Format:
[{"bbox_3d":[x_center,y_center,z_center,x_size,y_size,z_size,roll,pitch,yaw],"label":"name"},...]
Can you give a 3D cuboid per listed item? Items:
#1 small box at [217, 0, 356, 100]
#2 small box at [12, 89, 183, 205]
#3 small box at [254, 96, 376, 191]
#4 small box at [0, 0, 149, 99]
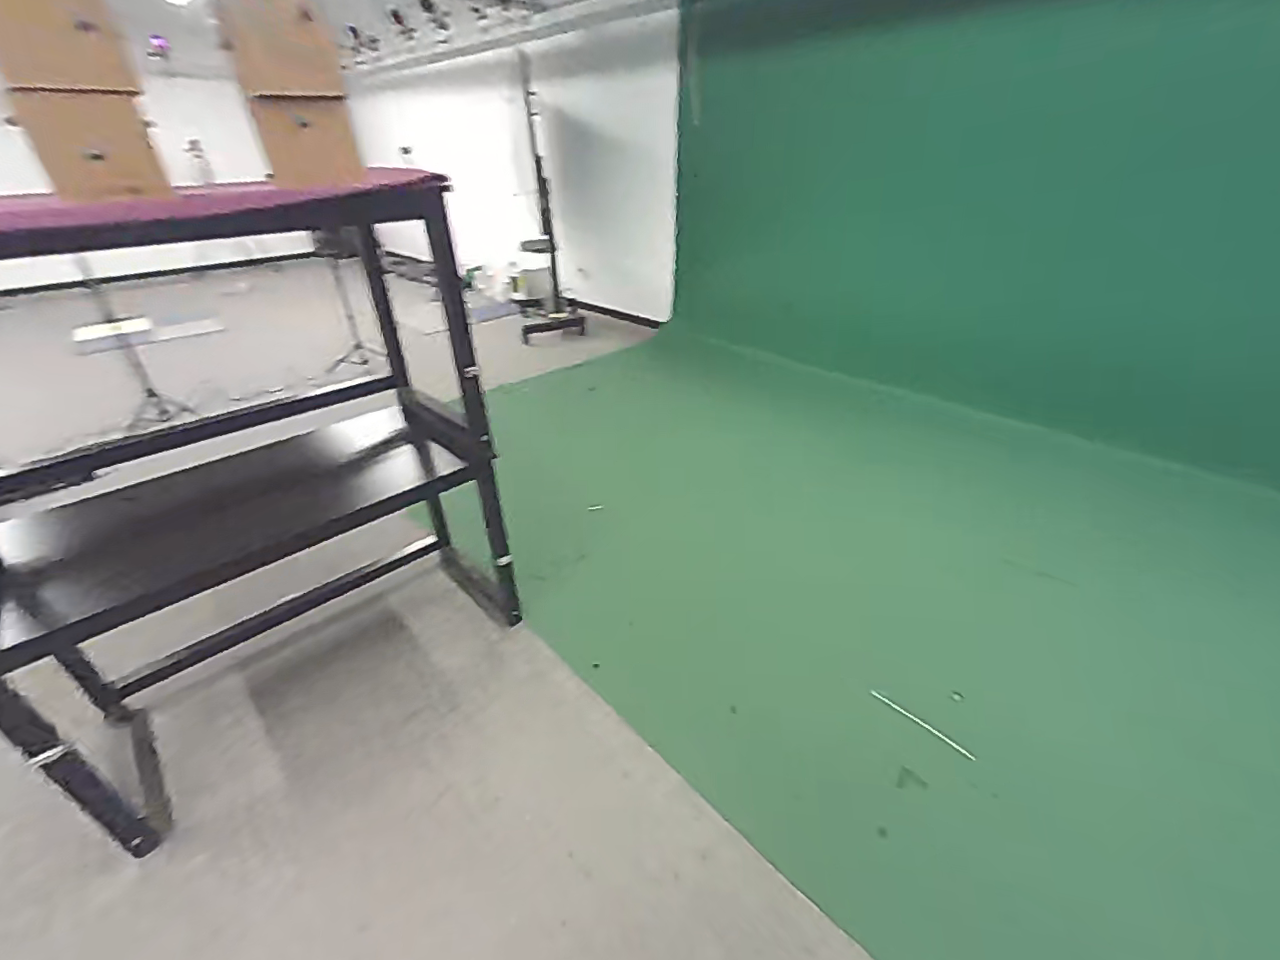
[{"bbox_3d":[-0.717,-0.873,1.104,0.179,0.176,0.168,-26,38,-34],"label":"small box"},{"bbox_3d":[-0.963,-0.594,0.974,0.168,0.176,0.179,-24,39,-34],"label":"small box"},{"bbox_3d":[-0.719,-0.741,1.200,0.179,0.176,0.168,-23,37,-30],"label":"small box"},{"bbox_3d":[-0.949,-0.732,0.887,0.179,0.176,0.168,-26,39,-33],"label":"small box"}]
